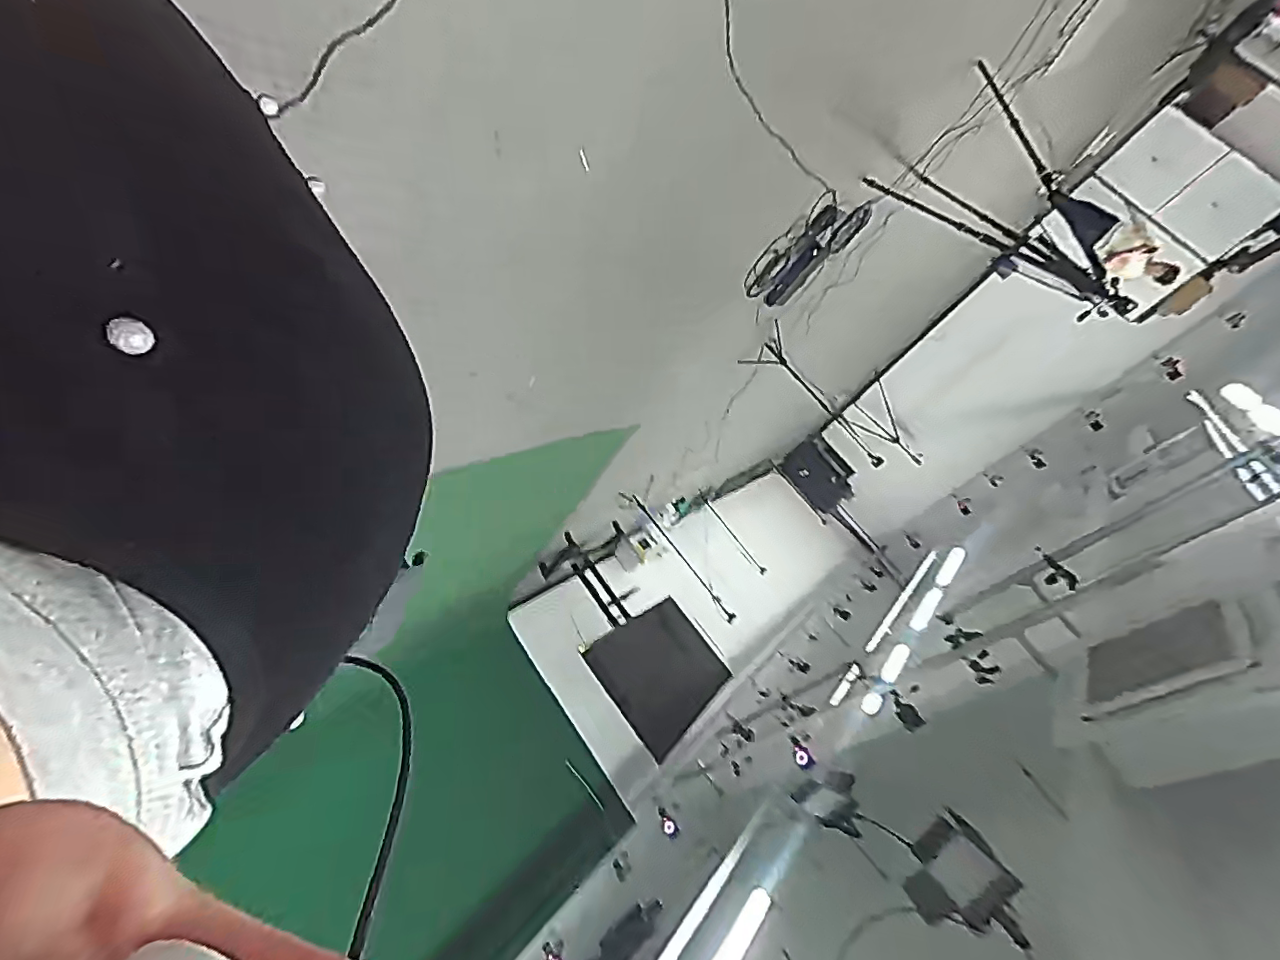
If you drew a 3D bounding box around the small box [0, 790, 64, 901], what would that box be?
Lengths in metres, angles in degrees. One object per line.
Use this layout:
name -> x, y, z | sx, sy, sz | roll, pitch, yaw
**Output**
small box -> -1.430, 0.826, 1.197 | 0.168, 0.176, 0.179 | -22, 158, -48
